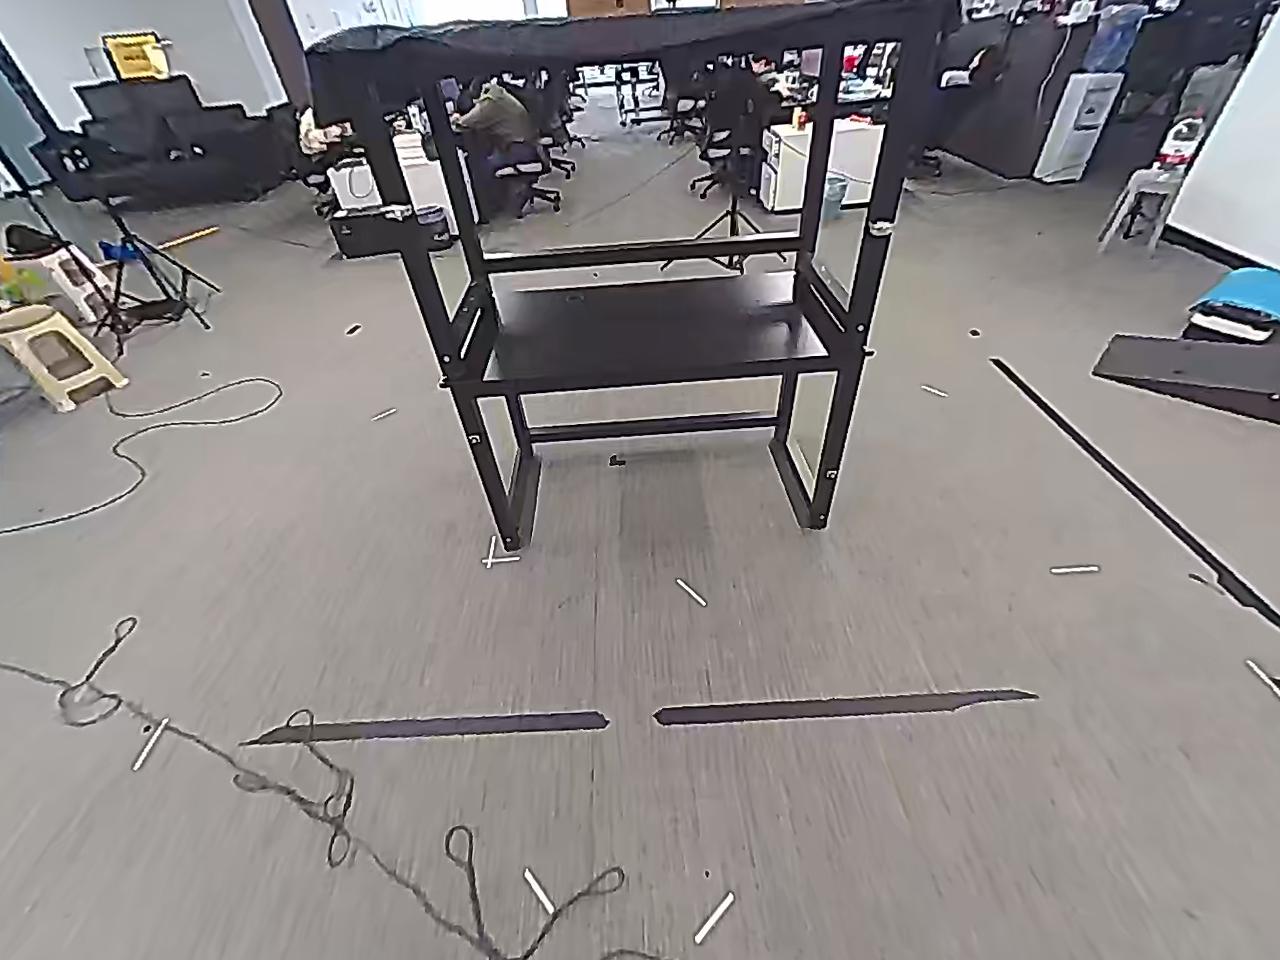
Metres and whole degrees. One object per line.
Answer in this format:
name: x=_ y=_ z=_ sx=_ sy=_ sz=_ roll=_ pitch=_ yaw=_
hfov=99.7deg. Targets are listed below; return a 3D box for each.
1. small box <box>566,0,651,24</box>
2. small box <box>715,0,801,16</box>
small box: x=-0.066 y=-1.007 z=1.057 sx=0.168 sy=0.176 sz=0.179 roll=-4 pitch=39 yaw=1
small box: x=0.233 y=-1.029 z=1.056 sx=0.168 sy=0.176 sz=0.179 roll=-1 pitch=40 yaw=4
